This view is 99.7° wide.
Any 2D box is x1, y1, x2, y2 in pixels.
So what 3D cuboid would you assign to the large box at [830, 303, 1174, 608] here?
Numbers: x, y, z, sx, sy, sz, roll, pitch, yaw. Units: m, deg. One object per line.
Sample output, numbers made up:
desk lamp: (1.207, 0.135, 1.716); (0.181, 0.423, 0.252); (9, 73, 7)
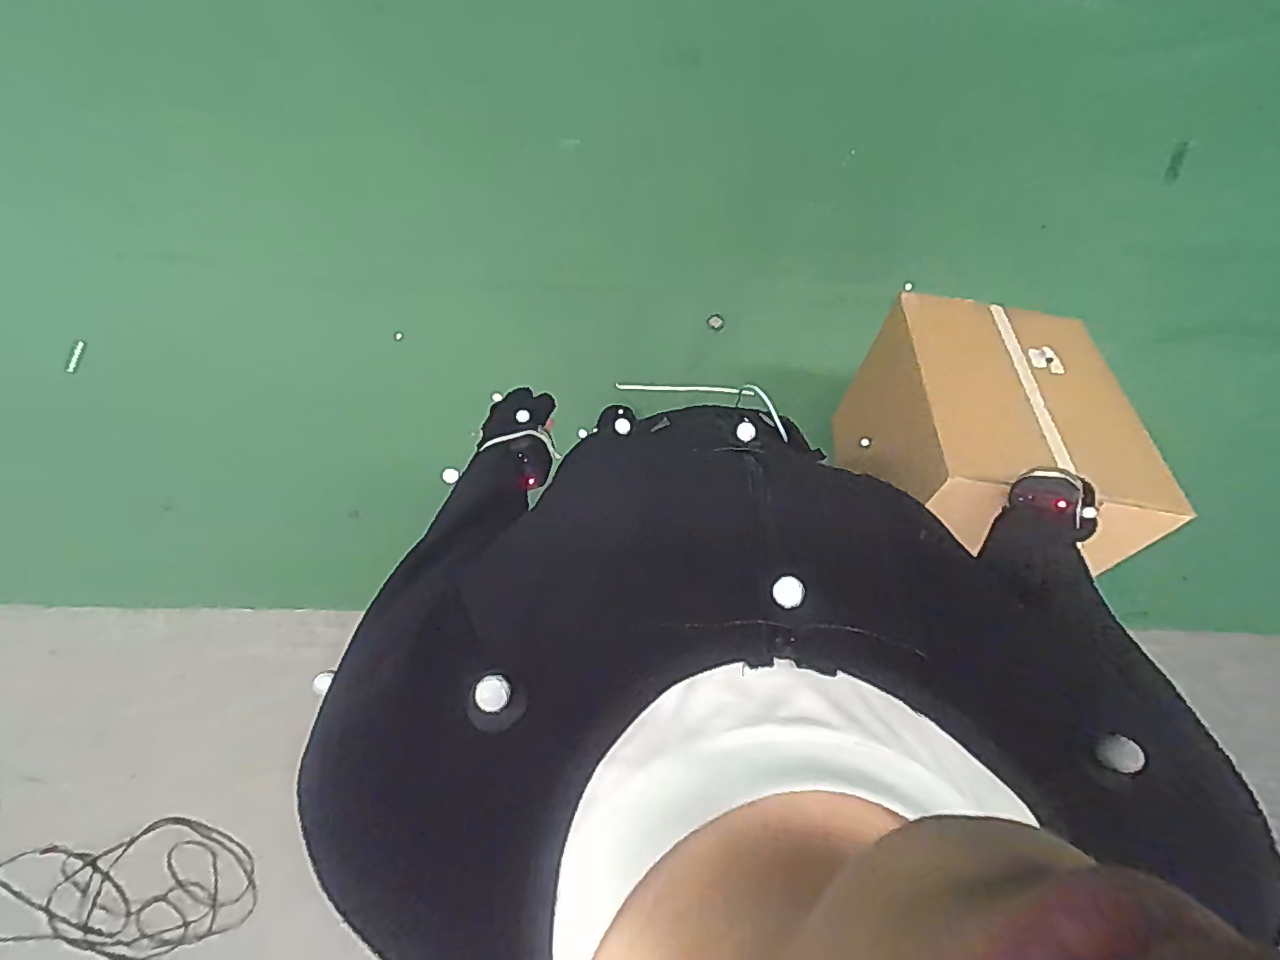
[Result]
large box: (0.547, -0.041, 0.930); (0.320, 0.408, 0.320); (10, 141, 0)
